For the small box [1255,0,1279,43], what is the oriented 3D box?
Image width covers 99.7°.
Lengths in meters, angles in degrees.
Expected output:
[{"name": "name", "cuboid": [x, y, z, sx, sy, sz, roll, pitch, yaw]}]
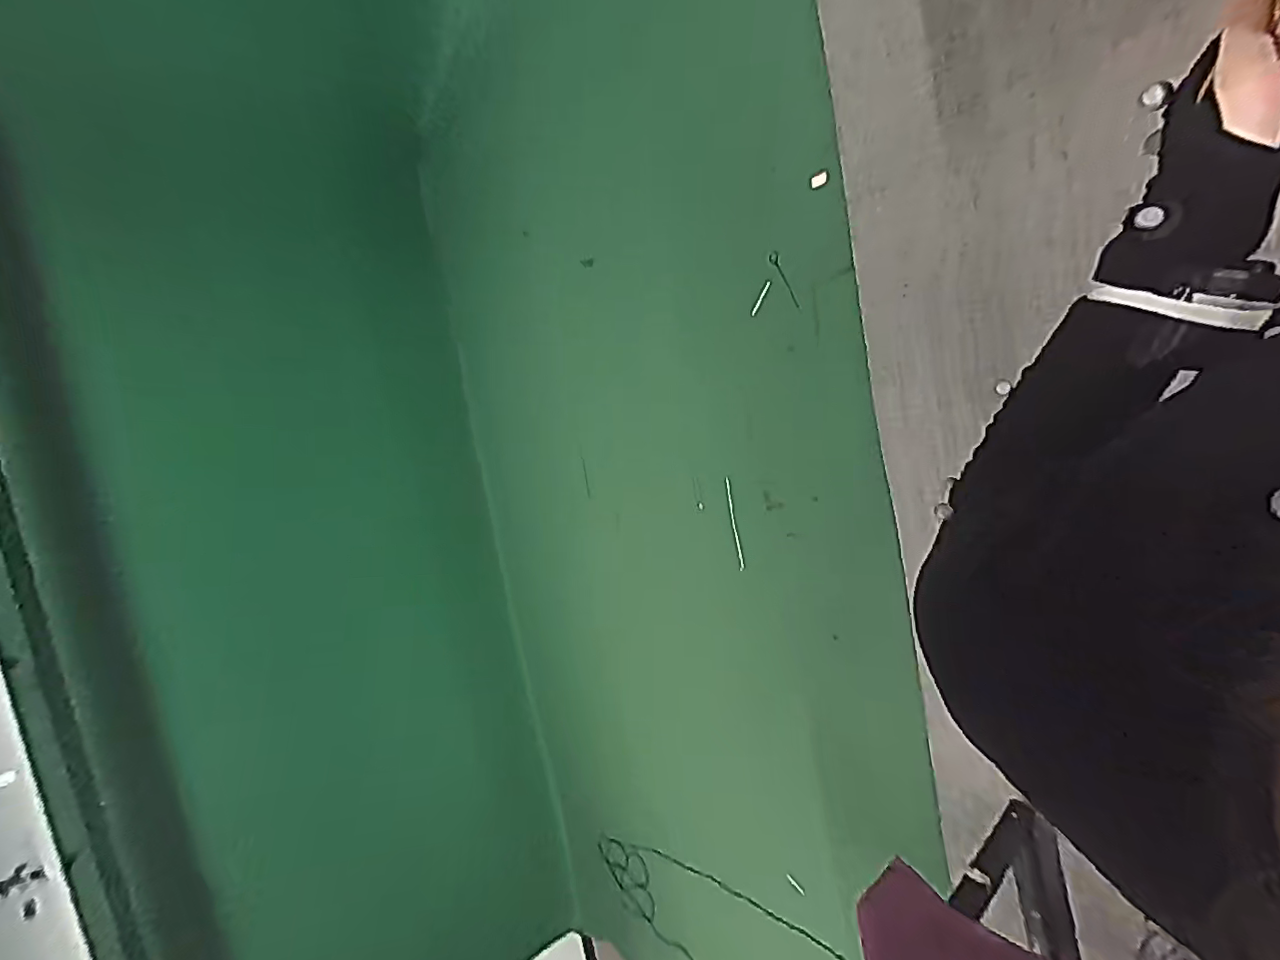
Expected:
[{"name": "small box", "cuboid": [0.388, -0.323, 0.224, 0.168, 0.176, 0.179, 3, 110, 45]}]
